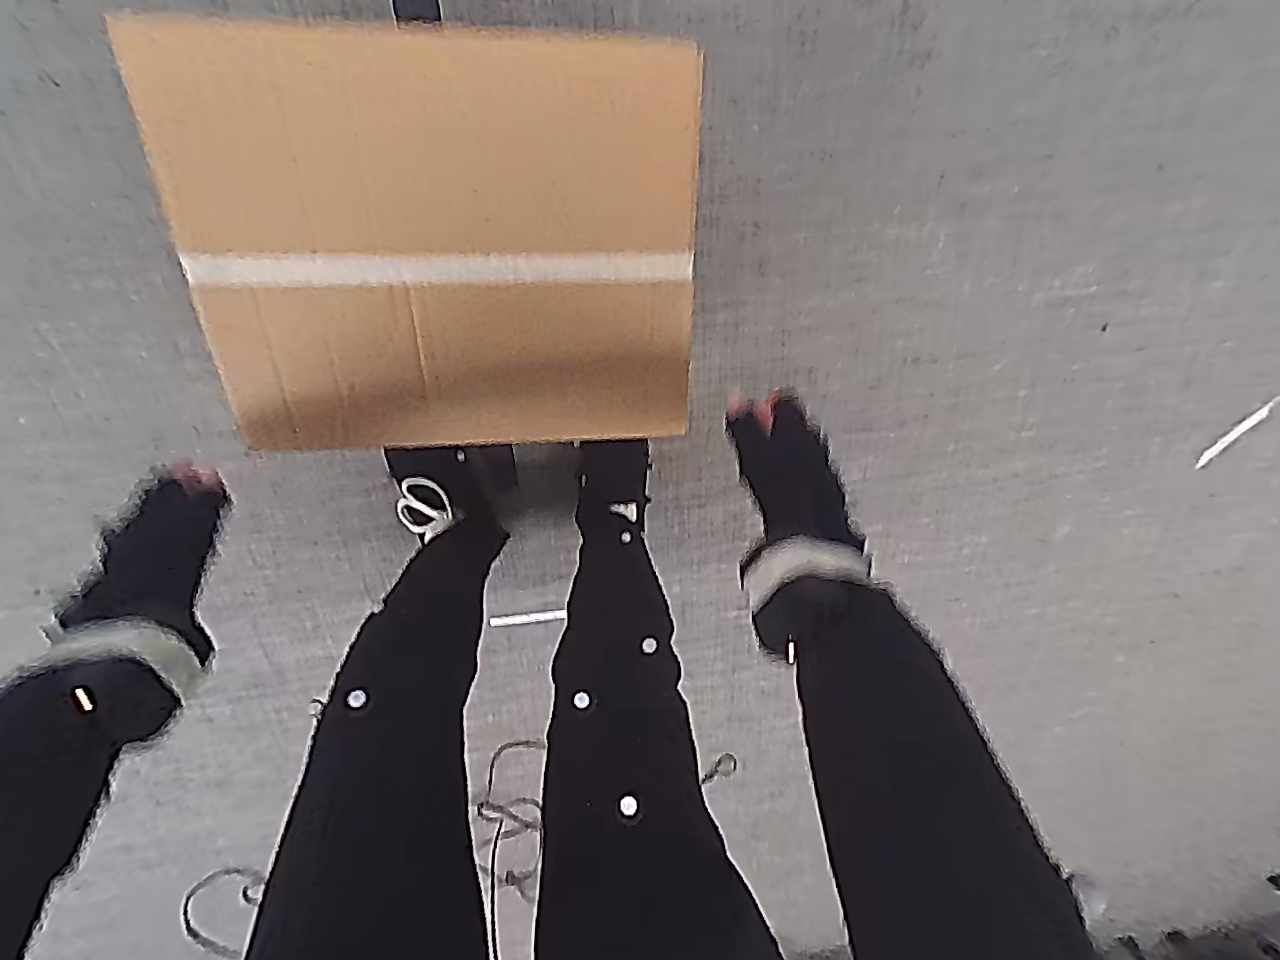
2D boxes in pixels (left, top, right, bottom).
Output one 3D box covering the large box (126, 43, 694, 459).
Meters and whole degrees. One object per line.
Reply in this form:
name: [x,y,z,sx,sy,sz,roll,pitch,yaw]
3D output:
large box: [-0.170,-0.231,0.583,0.408,0.320,0.320,-3,115,-6]
